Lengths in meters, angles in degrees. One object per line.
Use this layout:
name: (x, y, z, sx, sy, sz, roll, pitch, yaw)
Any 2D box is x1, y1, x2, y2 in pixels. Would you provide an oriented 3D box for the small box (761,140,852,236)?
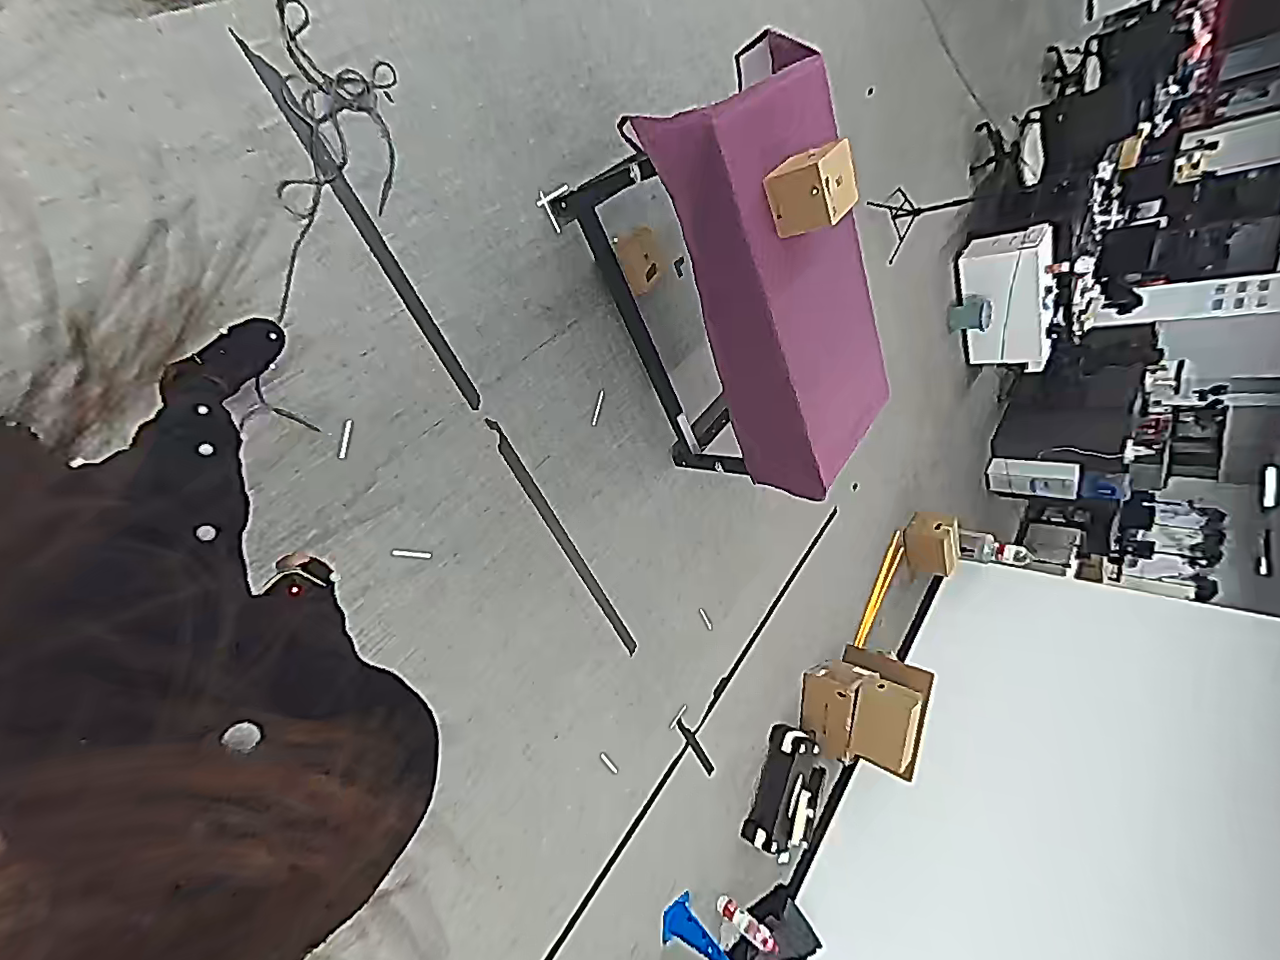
small box: (0.461, -0.805, 1.499, 0.179, 0.176, 0.168, -48, 127, -28)
